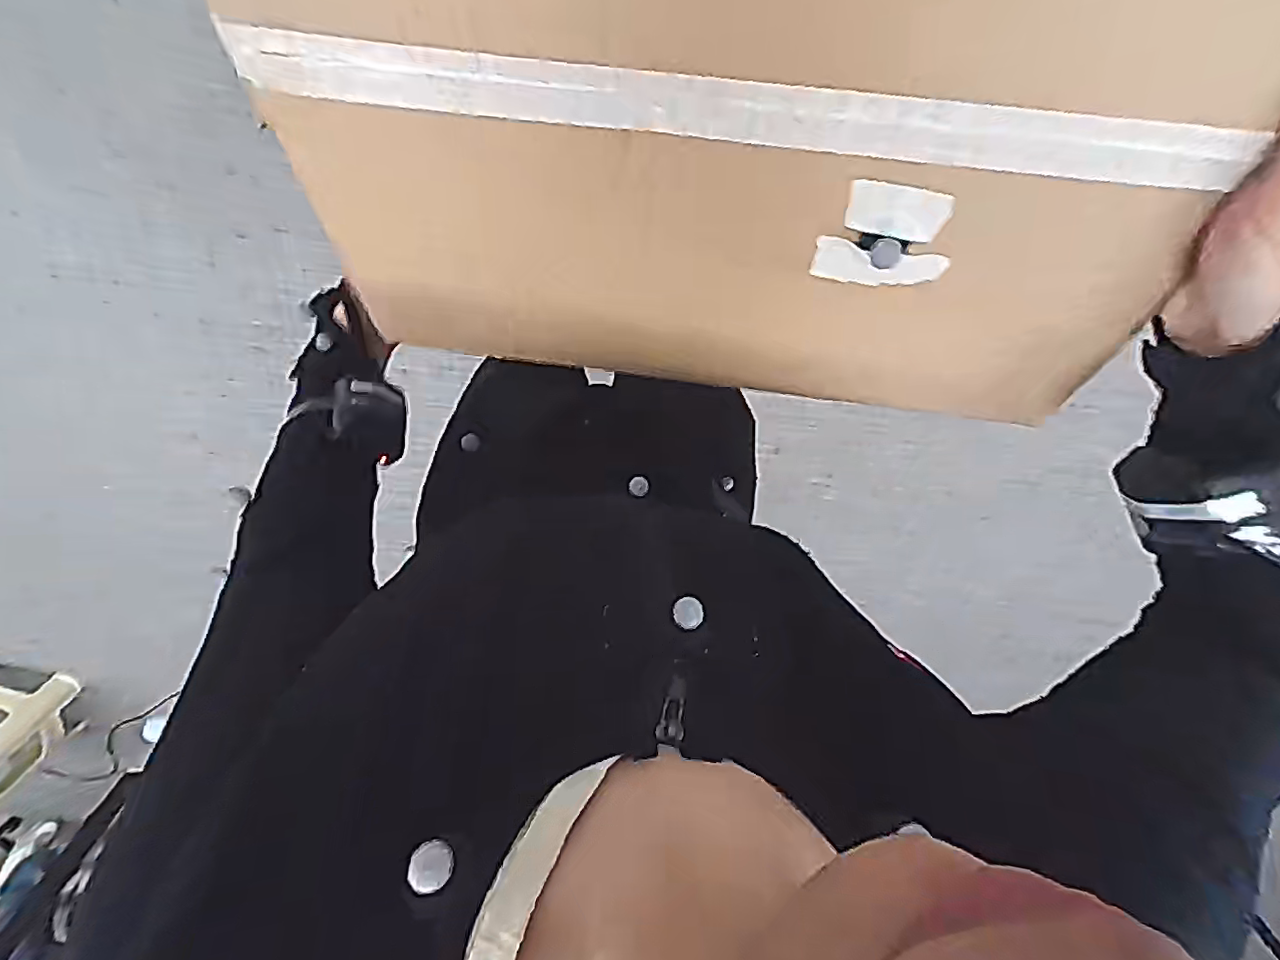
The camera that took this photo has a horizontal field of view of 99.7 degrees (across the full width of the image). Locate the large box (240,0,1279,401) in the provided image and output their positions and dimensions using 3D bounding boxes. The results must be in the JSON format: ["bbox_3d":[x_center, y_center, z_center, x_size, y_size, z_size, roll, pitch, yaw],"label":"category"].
[{"bbox_3d":[0.063,-0.273,0.281,0.408,0.320,0.320,6,149,1],"label":"large box"}]
